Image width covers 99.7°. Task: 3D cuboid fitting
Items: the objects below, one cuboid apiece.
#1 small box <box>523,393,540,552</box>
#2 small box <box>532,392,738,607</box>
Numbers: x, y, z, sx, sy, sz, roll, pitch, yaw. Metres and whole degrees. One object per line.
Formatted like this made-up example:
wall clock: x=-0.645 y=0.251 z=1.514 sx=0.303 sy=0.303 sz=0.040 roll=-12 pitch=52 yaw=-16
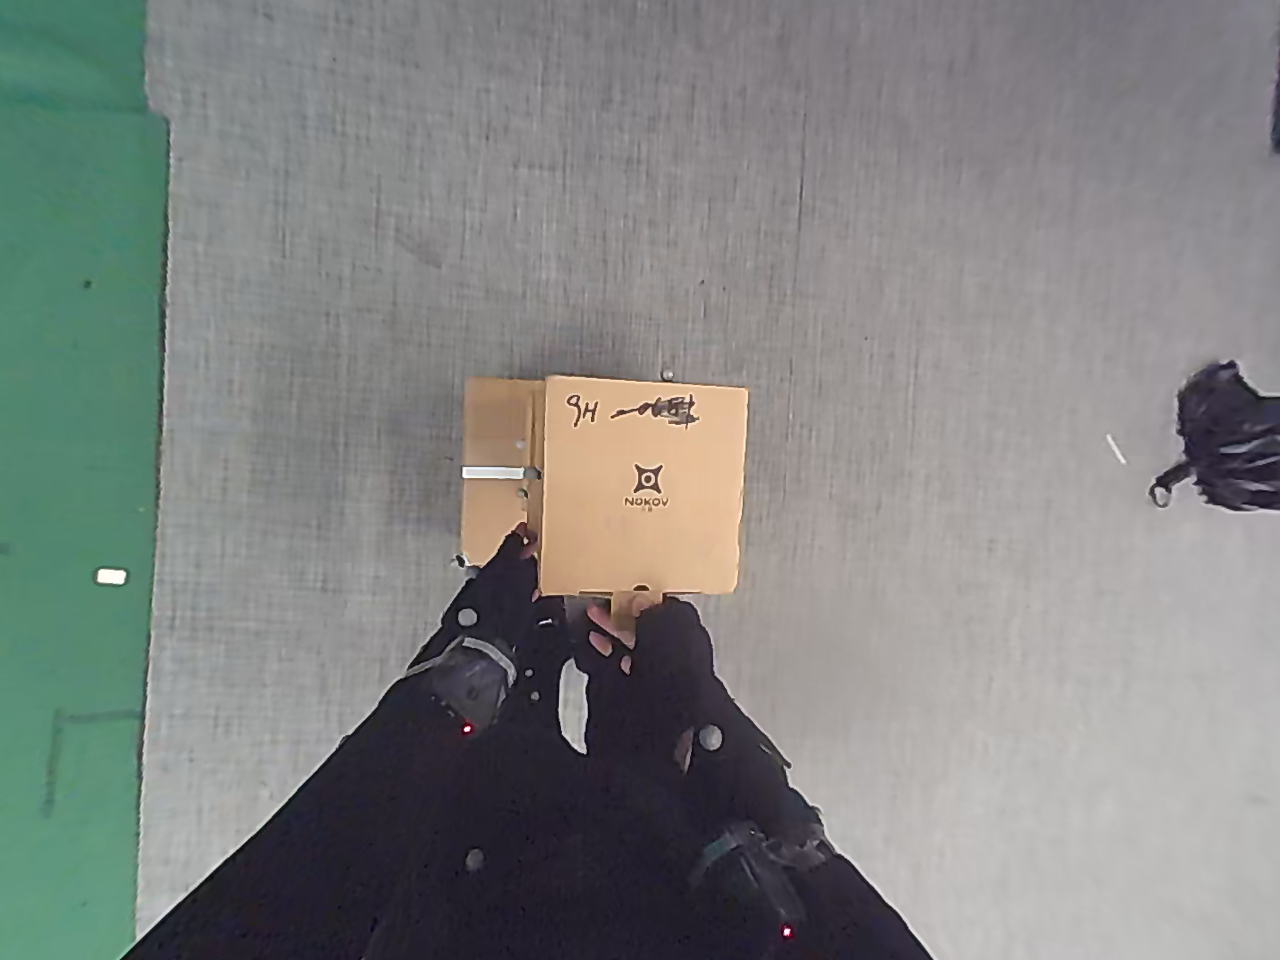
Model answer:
small box: x=-0.058 y=-0.012 z=0.679 sx=0.168 sy=0.176 sz=0.179 roll=1 pitch=94 yaw=-11
small box: x=-0.016 y=0.010 z=0.522 sx=0.168 sy=0.176 sz=0.179 roll=1 pitch=96 yaw=-10
